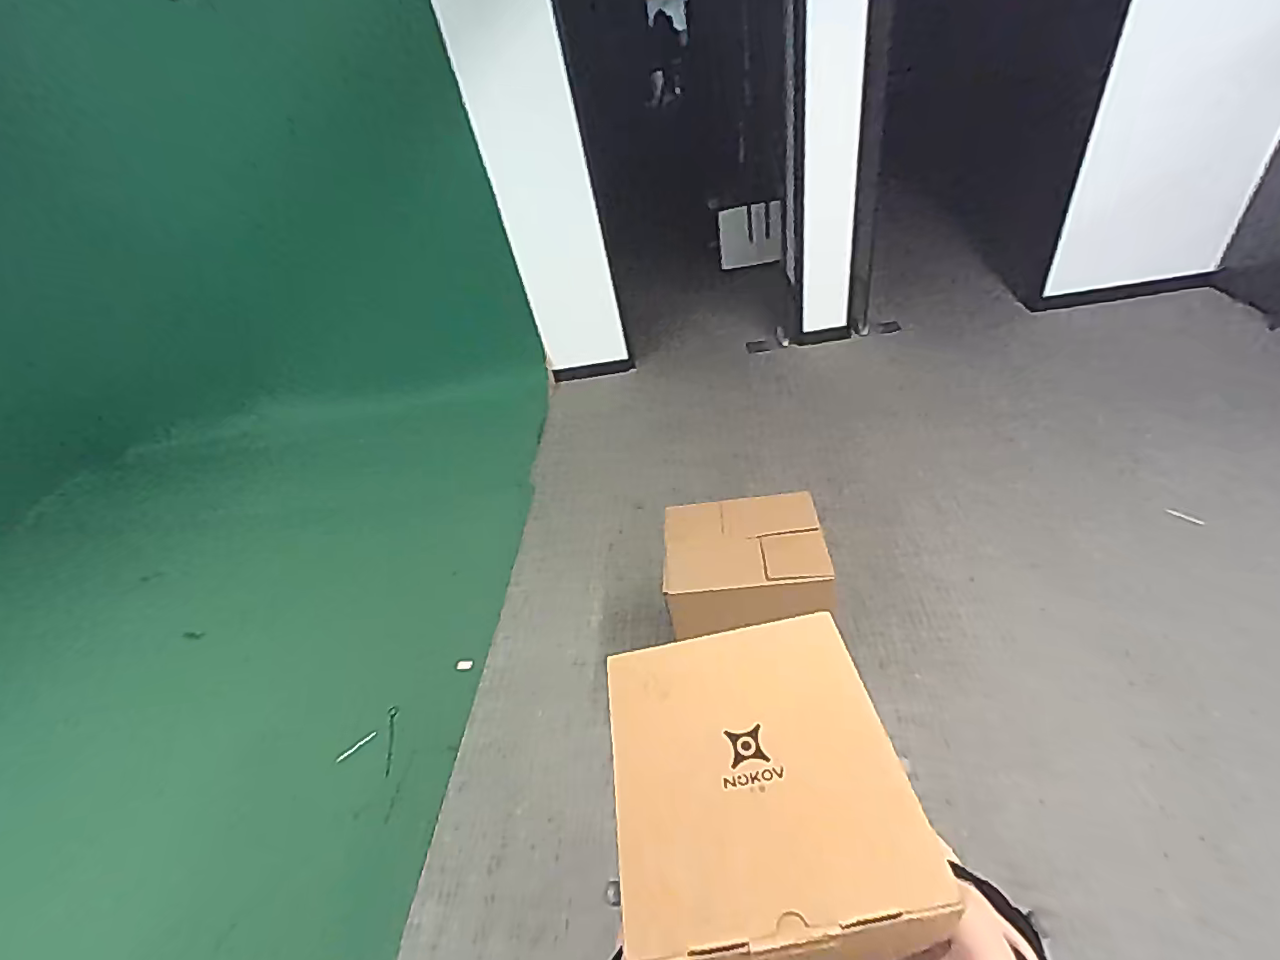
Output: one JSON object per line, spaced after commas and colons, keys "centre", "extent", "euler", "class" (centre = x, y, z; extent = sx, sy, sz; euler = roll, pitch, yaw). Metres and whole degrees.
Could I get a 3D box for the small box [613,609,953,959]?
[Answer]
{"centre": [0.079, 0.222, 0.379], "extent": [0.168, 0.176, 0.179], "euler": [-11, 39, 2], "class": "small box"}
